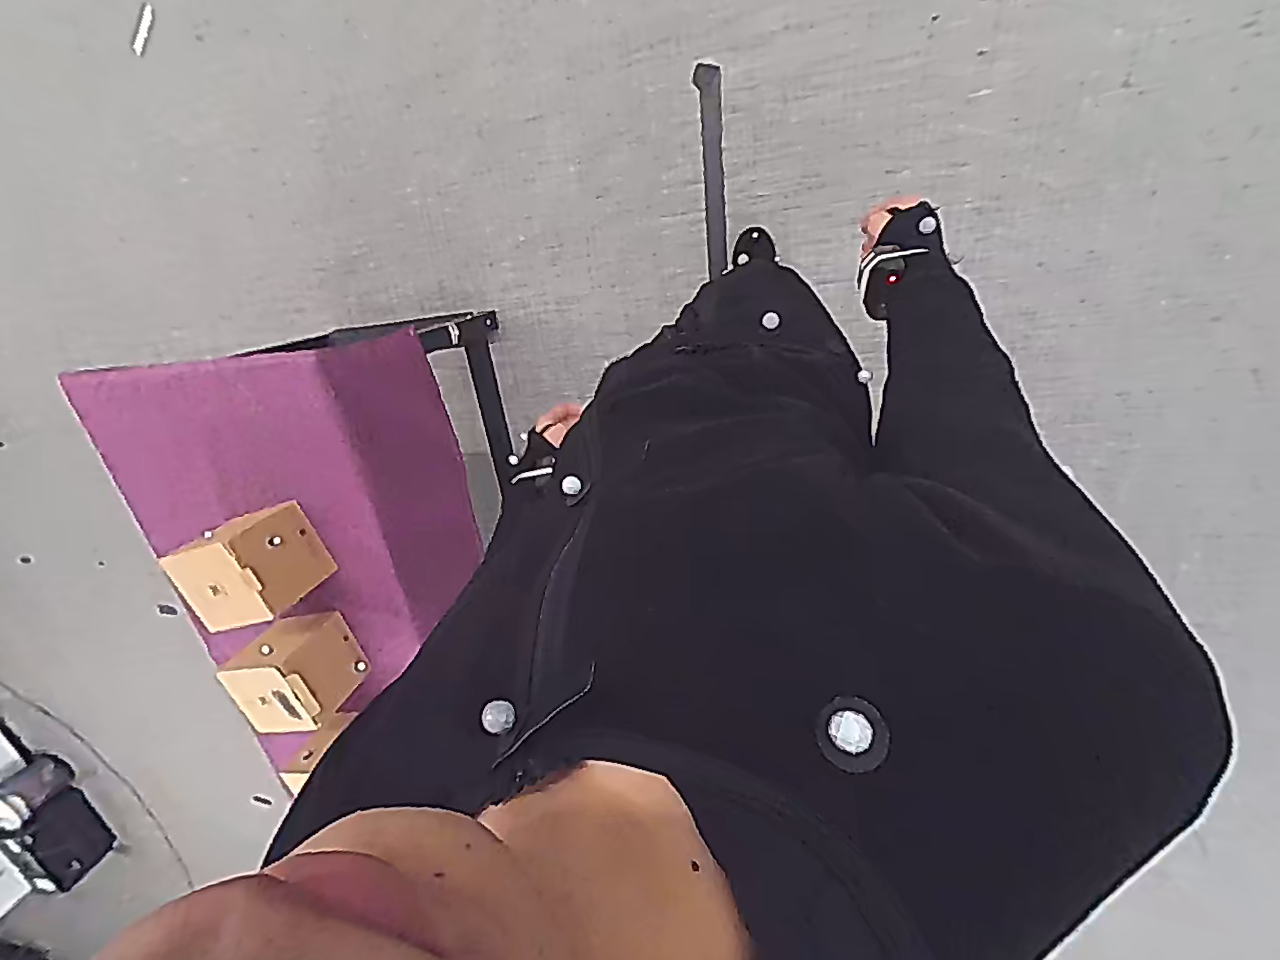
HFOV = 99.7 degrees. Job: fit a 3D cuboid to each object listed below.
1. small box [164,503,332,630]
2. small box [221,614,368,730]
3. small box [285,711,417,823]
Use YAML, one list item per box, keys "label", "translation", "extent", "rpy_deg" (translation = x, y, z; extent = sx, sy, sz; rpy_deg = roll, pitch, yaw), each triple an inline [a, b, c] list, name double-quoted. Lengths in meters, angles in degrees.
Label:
- label: "small box"
  translation: [-0.739, 0.162, 1.047]
  extent: [0.179, 0.176, 0.168]
  rpy_deg: [-14, 110, 19]
- label: "small box"
  translation: [-0.717, 0.402, 1.150]
  extent: [0.179, 0.176, 0.168]
  rpy_deg: [-12, 111, 18]
- label: "small box"
  translation: [-0.659, 0.659, 1.254]
  extent: [0.179, 0.176, 0.168]
  rpy_deg: [-10, 112, 17]
